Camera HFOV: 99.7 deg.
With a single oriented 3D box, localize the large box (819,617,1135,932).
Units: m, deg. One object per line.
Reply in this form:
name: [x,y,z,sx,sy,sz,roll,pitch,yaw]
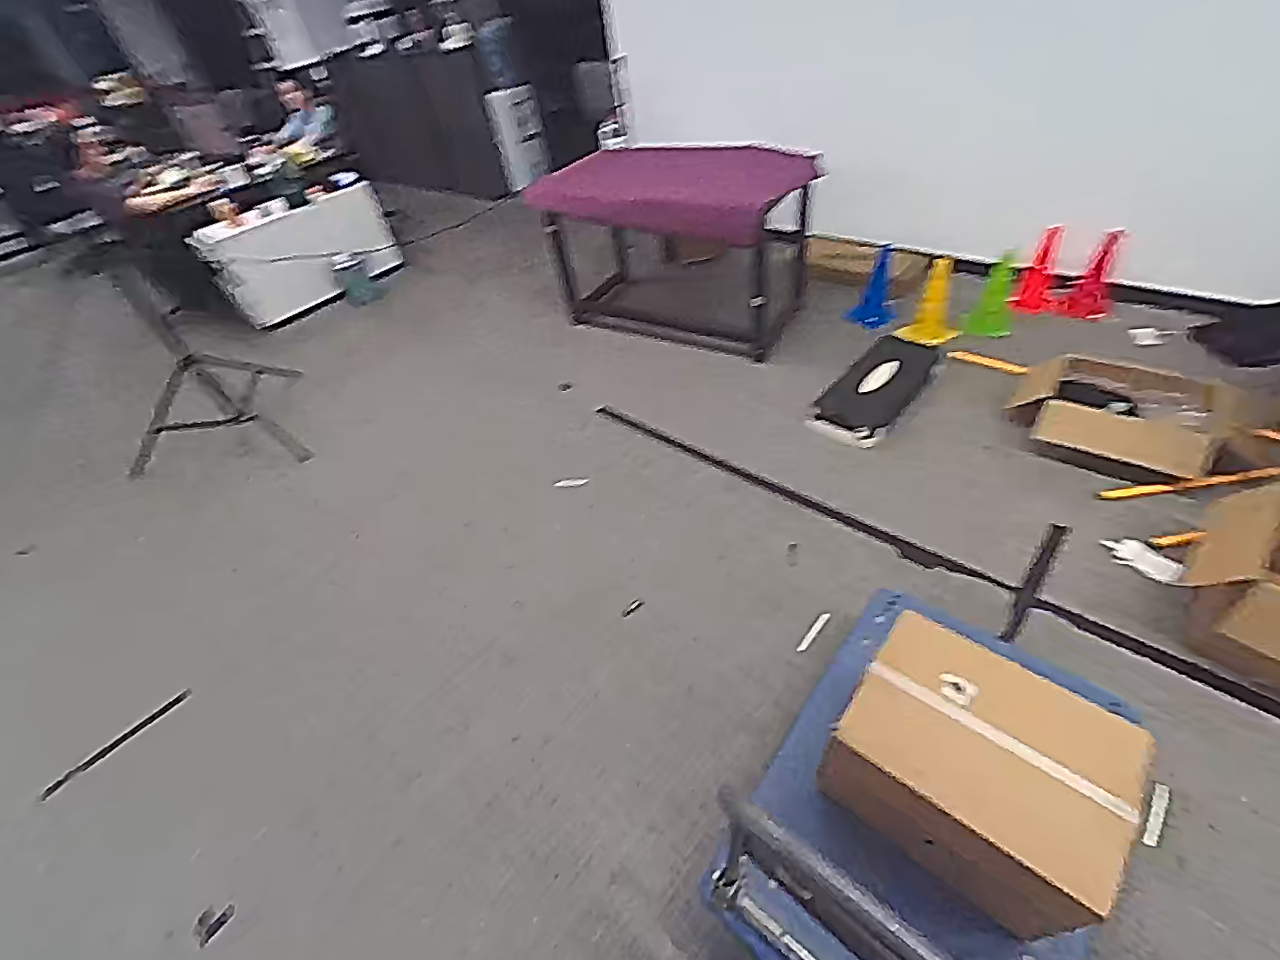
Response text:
large box: [0.609,0.548,1.039,0.408,0.320,0.320,27,55,33]
